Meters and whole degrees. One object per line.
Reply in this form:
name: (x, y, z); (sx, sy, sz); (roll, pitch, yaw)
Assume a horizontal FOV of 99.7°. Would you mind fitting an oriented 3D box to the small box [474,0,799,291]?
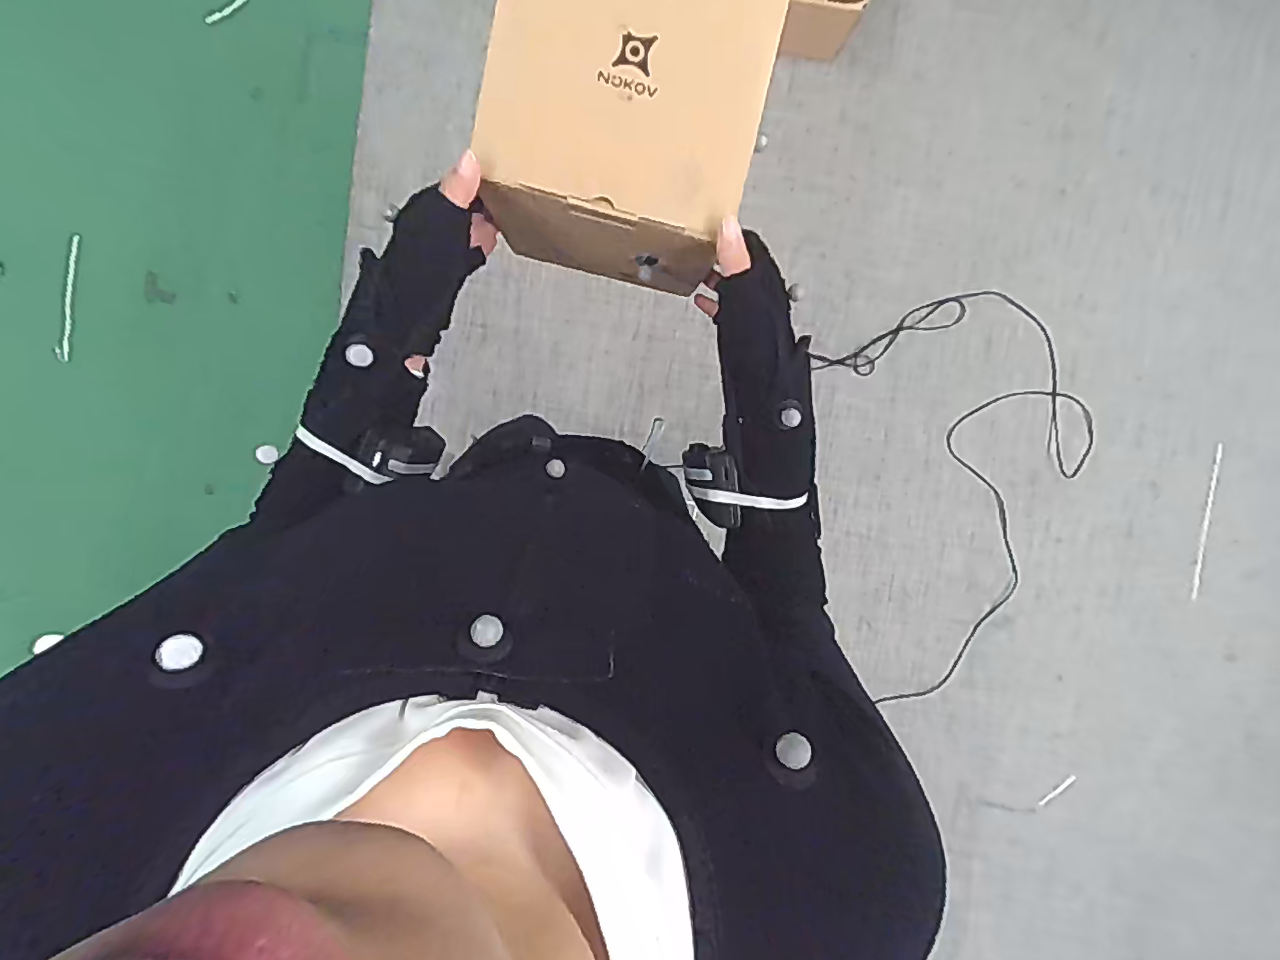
small box: (-0.005, -0.255, 0.394); (0.168, 0.176, 0.179); (13, 97, -6)
